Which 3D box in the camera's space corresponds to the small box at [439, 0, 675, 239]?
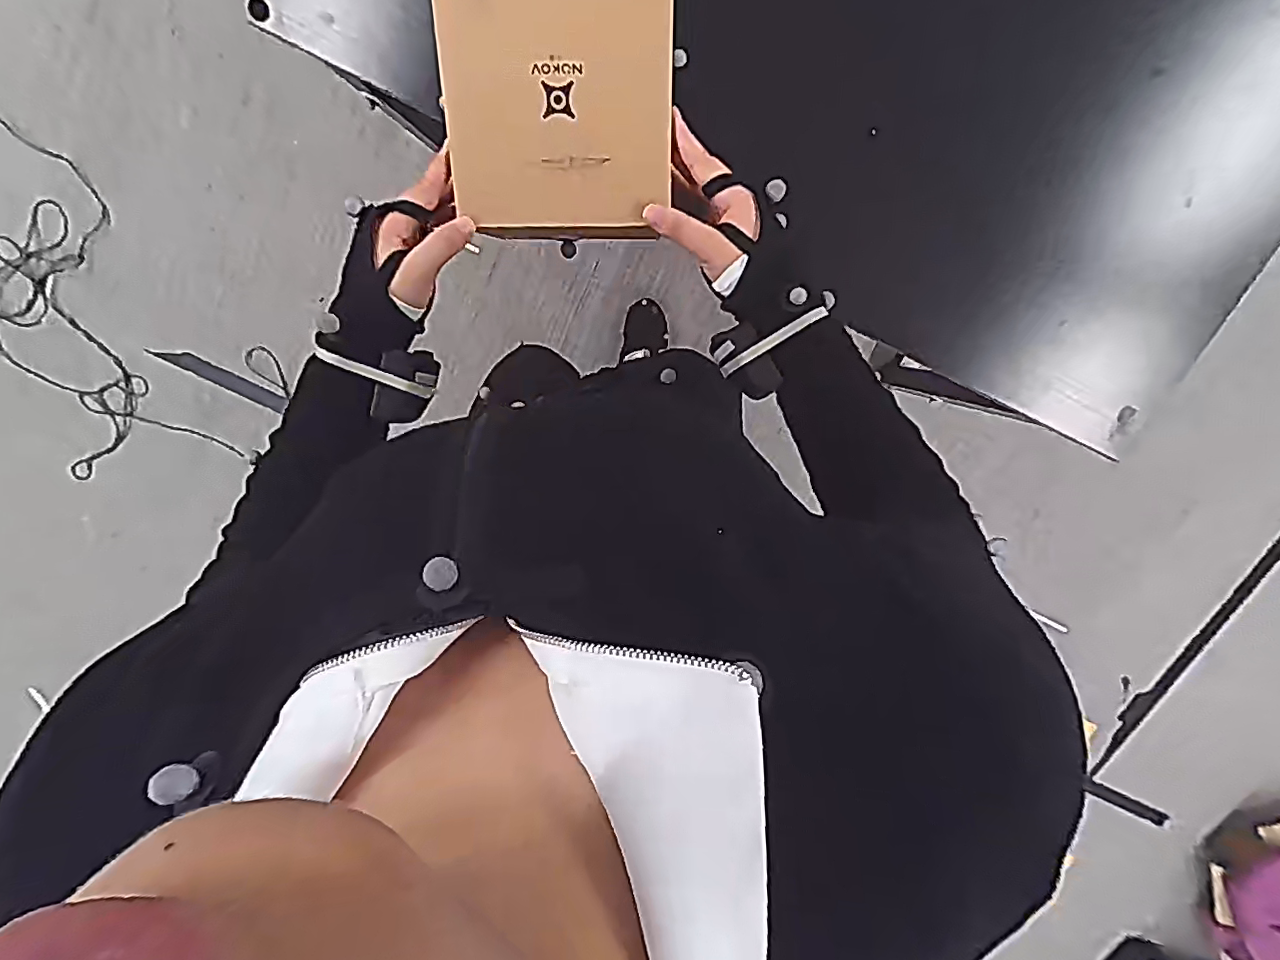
[{"bbox_3d":[-0.059,-0.310,0.467,0.168,0.176,0.179,0,111,0],"label":"small box"}]
